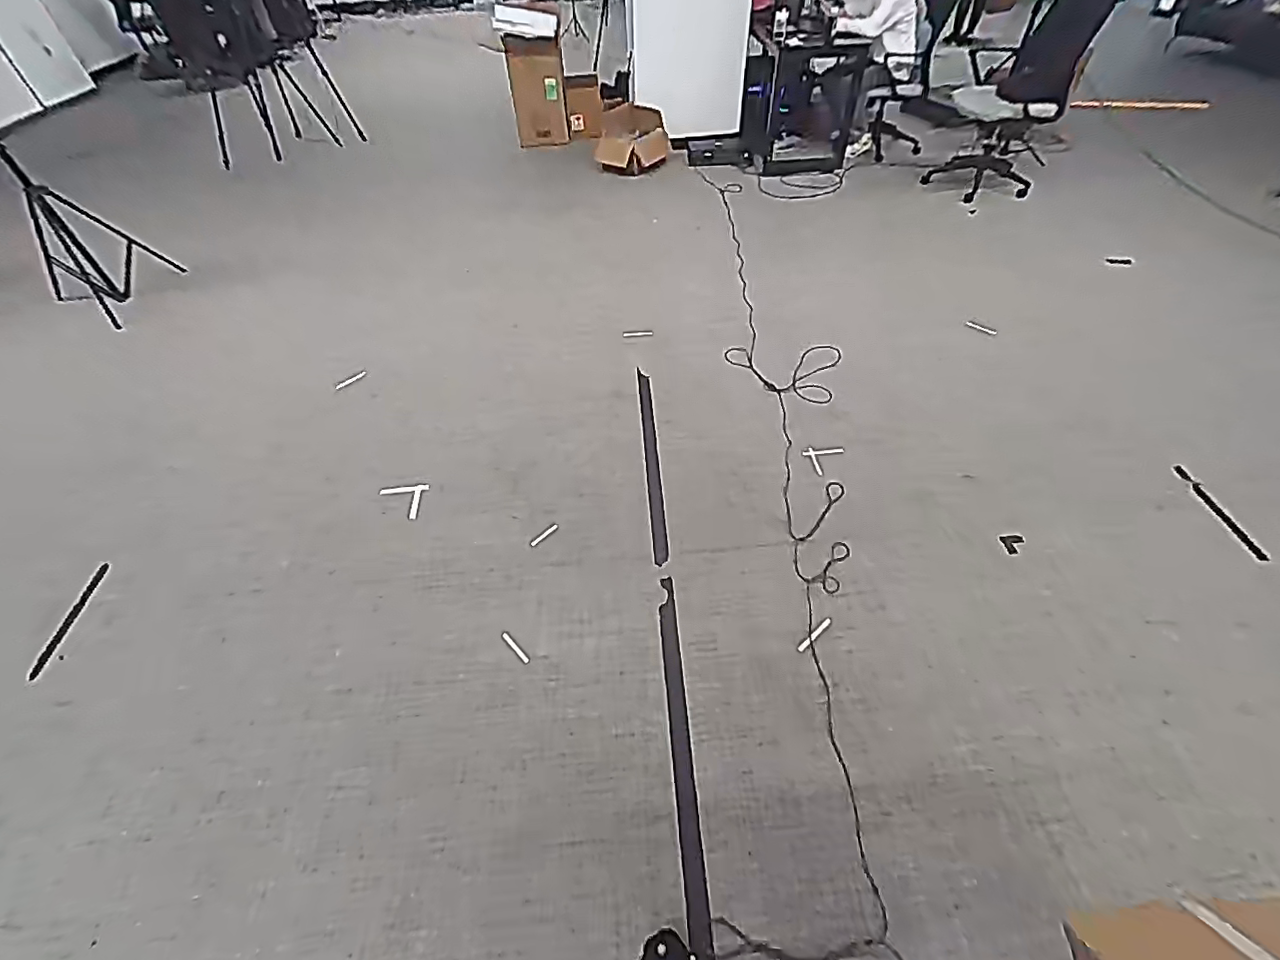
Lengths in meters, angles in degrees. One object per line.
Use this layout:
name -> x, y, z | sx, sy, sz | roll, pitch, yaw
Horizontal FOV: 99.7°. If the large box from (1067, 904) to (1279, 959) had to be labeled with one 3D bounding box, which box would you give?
large box -> 0.711, 0.681, 0.497 | 0.320, 0.408, 0.320 | -12, 78, 10
